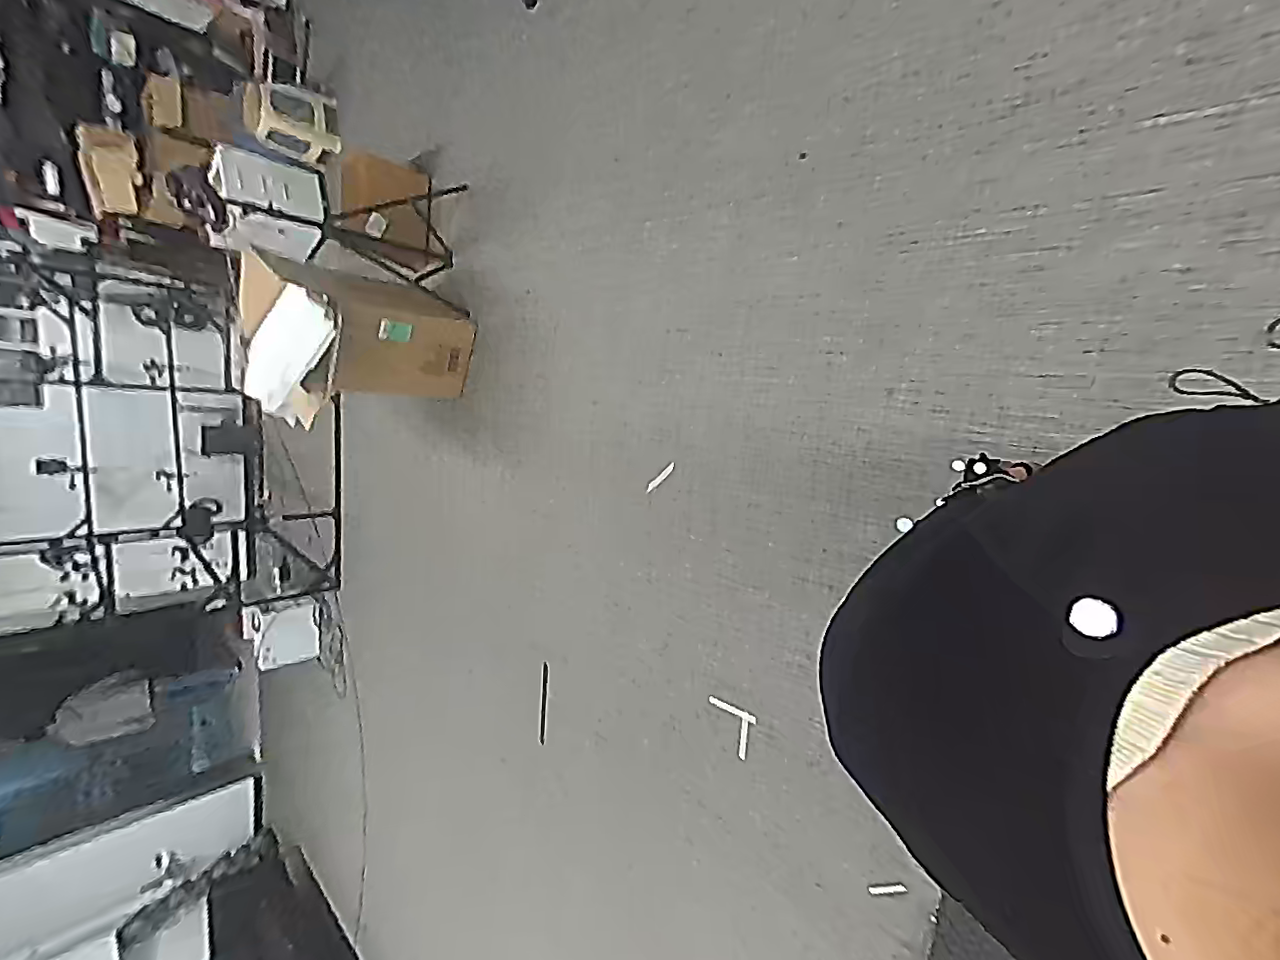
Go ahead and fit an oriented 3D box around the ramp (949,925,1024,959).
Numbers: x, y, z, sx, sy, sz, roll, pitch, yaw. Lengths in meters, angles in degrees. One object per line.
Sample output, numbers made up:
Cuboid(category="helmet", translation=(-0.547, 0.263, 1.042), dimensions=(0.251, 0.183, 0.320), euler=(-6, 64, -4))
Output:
Cuboid(category="ramp", translation=(0.821, 1.568, 1.122), dimensions=(0.509, 0.206, 0.991), euler=(11, 98, 44))
